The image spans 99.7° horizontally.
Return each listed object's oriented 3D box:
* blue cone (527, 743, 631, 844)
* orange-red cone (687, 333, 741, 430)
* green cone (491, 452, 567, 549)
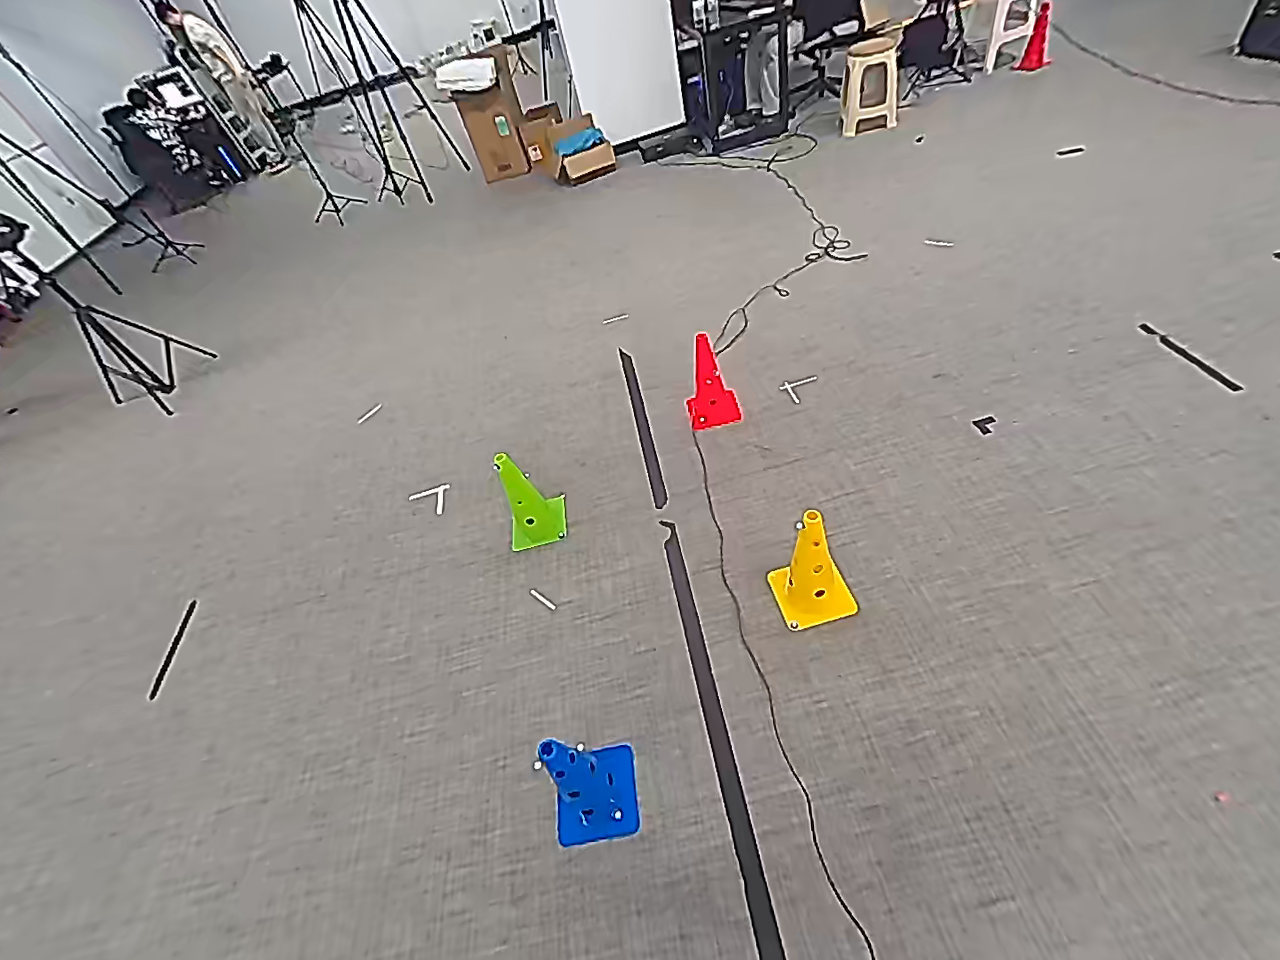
[{"bbox_3d":[-0.155,0.660,1.206,0.192,0.380,0.193,-13,46,6],"label":"blue cone"},{"bbox_3d":[0.259,-0.392,2.031,0.199,0.360,0.198,-11,48,5],"label":"orange-red cone"},{"bbox_3d":[-0.405,0.036,1.834,0.202,0.368,0.200,-16,46,4],"label":"green cone"}]
